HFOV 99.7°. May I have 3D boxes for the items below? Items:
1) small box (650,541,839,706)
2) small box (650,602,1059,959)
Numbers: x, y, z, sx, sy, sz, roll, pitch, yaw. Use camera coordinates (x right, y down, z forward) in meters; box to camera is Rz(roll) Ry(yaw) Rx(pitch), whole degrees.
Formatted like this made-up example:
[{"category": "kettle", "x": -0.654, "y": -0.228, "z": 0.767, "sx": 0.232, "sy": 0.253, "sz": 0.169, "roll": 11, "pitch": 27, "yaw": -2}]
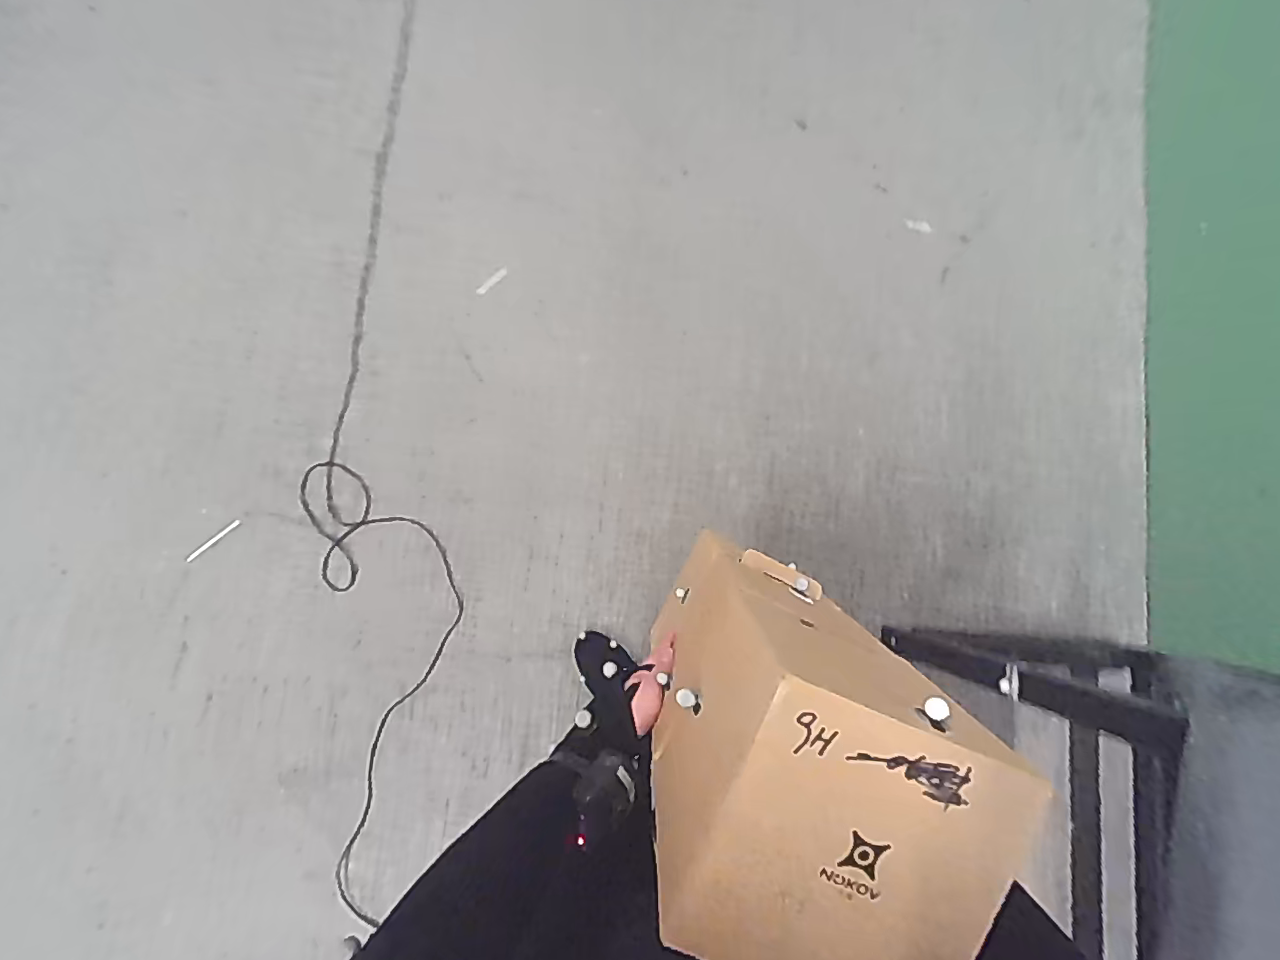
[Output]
[{"category": "small box", "x": 0.119, "y": 0.193, "z": 0.692, "sx": 0.168, "sy": 0.176, "sz": 0.179, "roll": 25, "pitch": 93, "yaw": 1}, {"category": "small box", "x": 0.114, "y": 0.210, "z": 0.366, "sx": 0.168, "sy": 0.176, "sz": 0.179, "roll": 21, "pitch": 94, "yaw": -1}]
